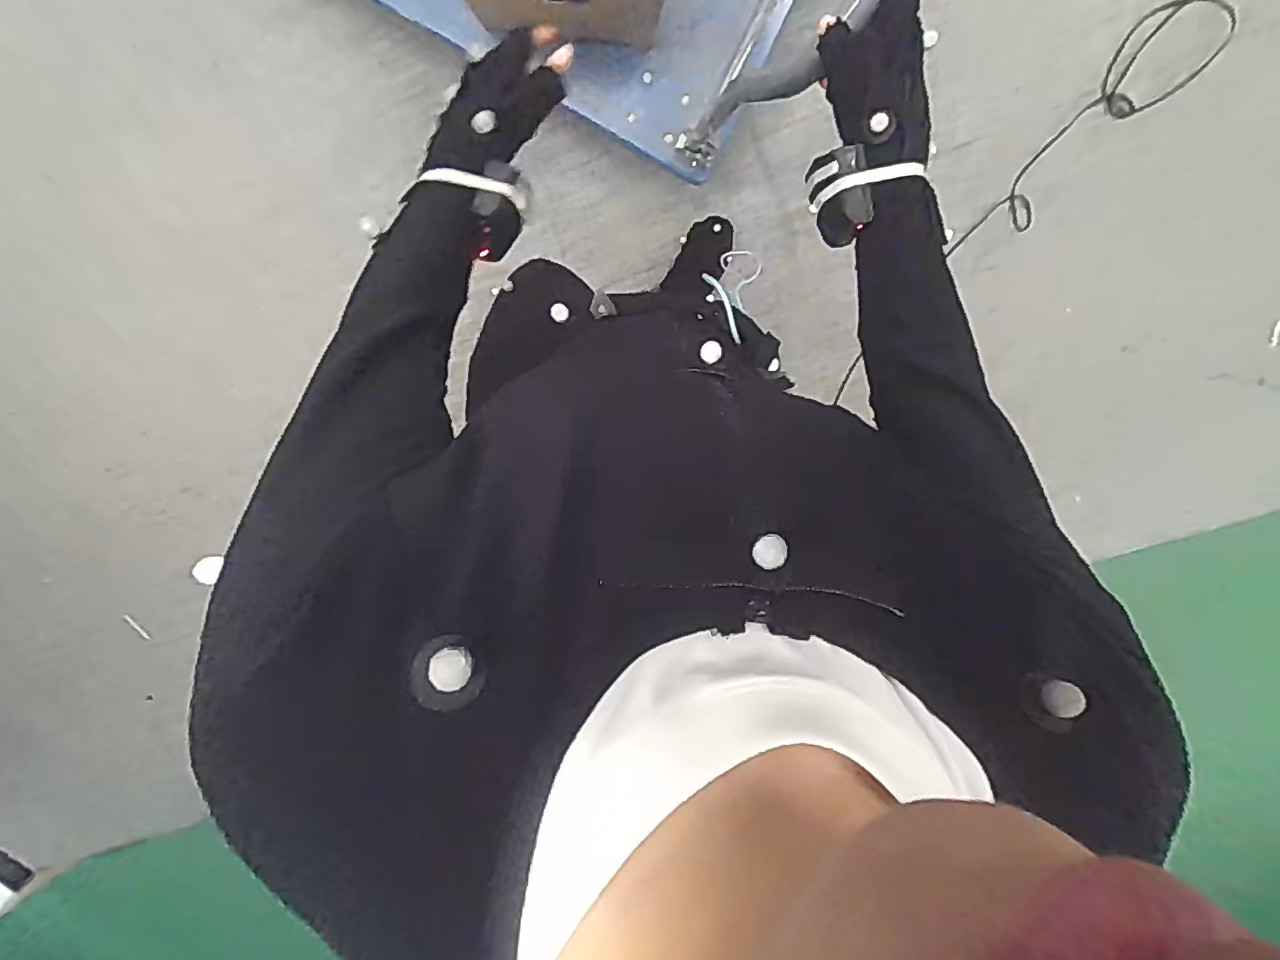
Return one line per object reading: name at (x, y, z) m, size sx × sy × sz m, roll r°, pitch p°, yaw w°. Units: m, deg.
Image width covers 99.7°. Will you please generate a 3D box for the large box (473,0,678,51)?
large box at (-0.094, -0.908, 0.770) m, size 0.320 × 0.320 × 0.408 m, roll 2°, pitch 117°, yaw -2°
